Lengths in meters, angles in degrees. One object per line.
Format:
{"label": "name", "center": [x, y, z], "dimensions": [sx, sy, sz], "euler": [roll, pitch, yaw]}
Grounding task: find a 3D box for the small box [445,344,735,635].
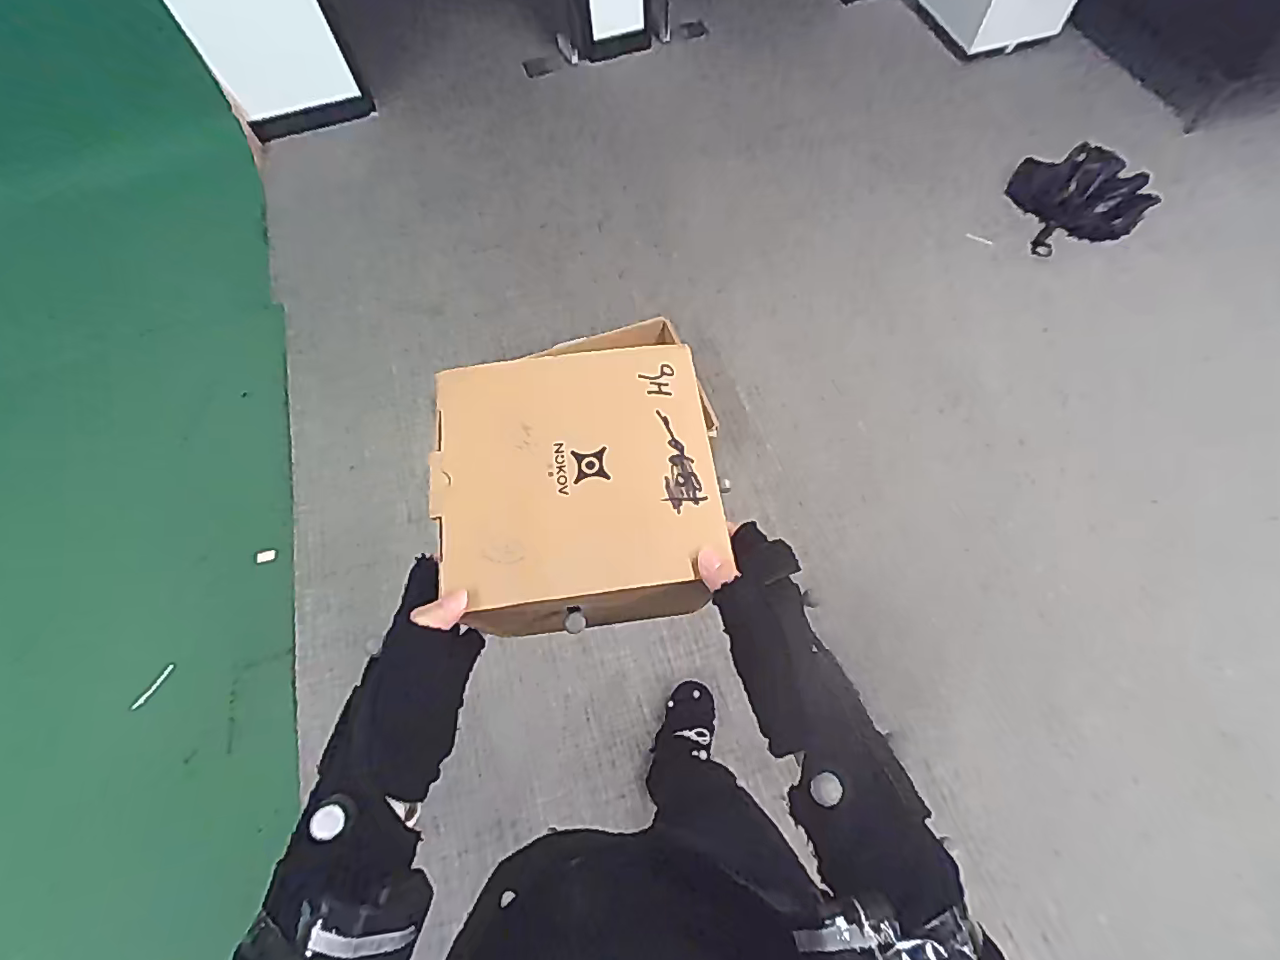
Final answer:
{"label": "small box", "center": [-0.040, 0.019, 0.431], "dimensions": [0.179, 0.176, 0.168], "euler": [-9, 68, -6]}
